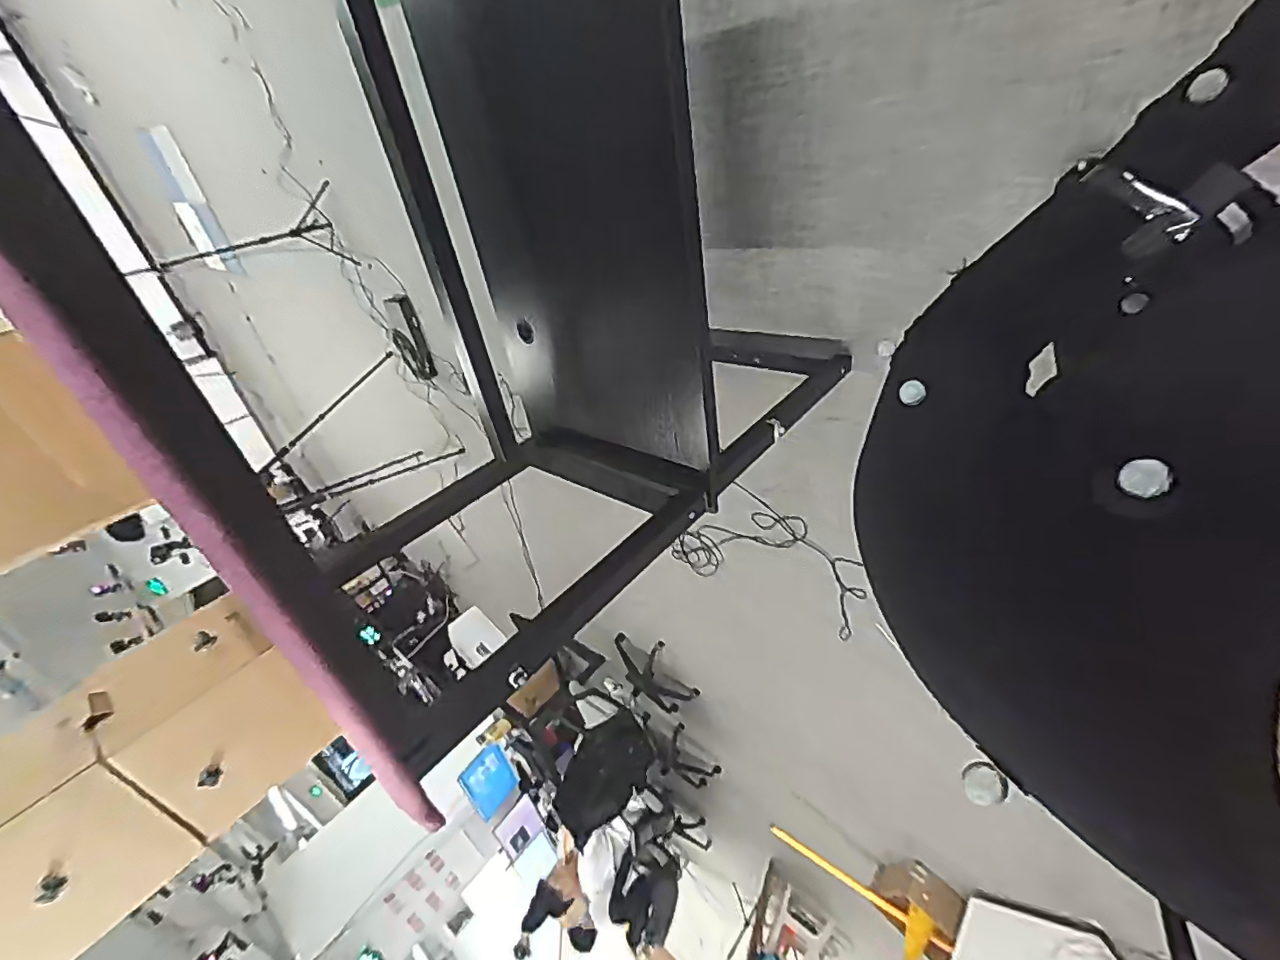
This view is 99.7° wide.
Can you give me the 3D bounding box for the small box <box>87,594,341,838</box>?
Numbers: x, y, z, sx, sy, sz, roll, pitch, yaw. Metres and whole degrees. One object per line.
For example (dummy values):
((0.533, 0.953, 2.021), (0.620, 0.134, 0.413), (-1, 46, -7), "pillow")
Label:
((-0.507, 0.277, 0.663), (0.168, 0.176, 0.179), (18, 132, 37), "small box")
